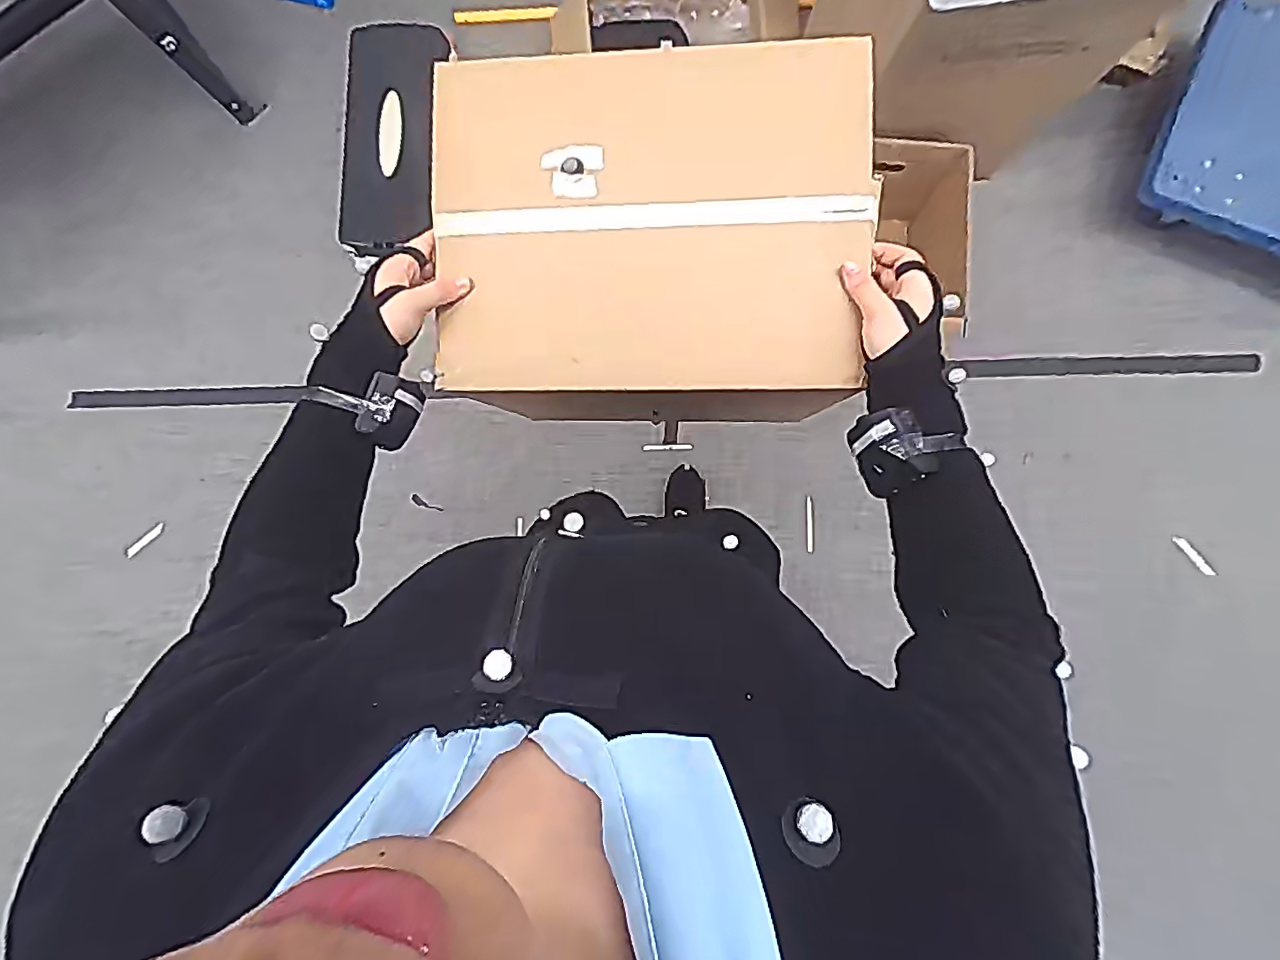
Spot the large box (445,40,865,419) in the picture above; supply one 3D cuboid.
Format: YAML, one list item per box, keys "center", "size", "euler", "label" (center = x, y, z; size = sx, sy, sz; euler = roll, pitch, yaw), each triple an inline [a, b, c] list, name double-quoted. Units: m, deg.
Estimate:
- center: [0.024, -0.244, 0.659]
  size: [0.408, 0.320, 0.320]
  euler: [0, 89, 7]
  label: "large box"
